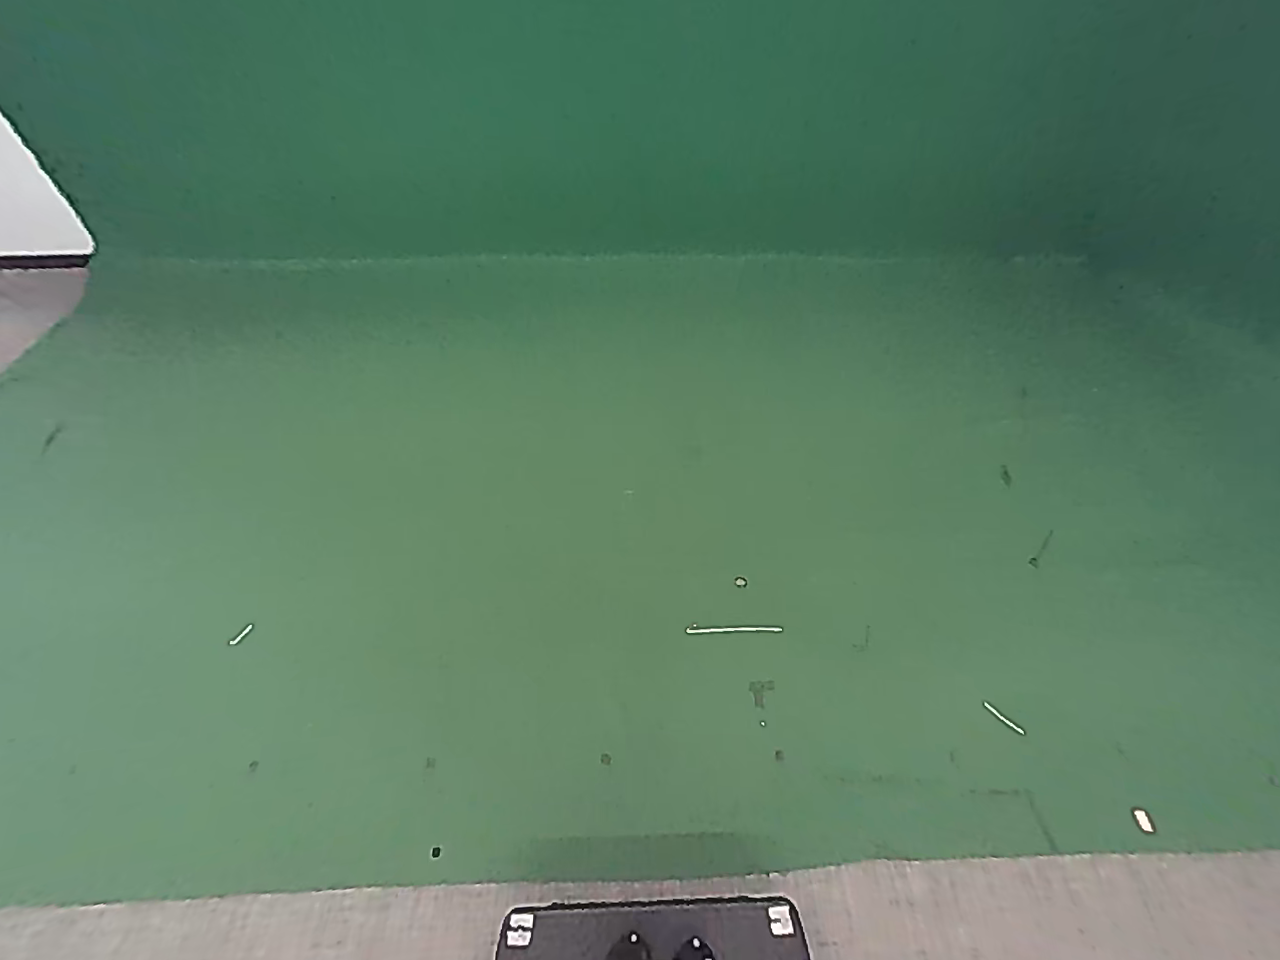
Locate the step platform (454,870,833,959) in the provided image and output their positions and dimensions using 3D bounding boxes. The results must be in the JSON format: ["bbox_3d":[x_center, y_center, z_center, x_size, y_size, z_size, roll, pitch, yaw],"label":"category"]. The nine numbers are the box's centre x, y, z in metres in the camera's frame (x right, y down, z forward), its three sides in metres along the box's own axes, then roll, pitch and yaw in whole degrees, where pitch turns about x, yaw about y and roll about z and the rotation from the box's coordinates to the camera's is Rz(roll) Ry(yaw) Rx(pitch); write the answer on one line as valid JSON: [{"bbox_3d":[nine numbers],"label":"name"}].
[{"bbox_3d":[0.010,0.931,1.019,0.684,0.204,0.286,-2,51,-2],"label":"step platform"}]
